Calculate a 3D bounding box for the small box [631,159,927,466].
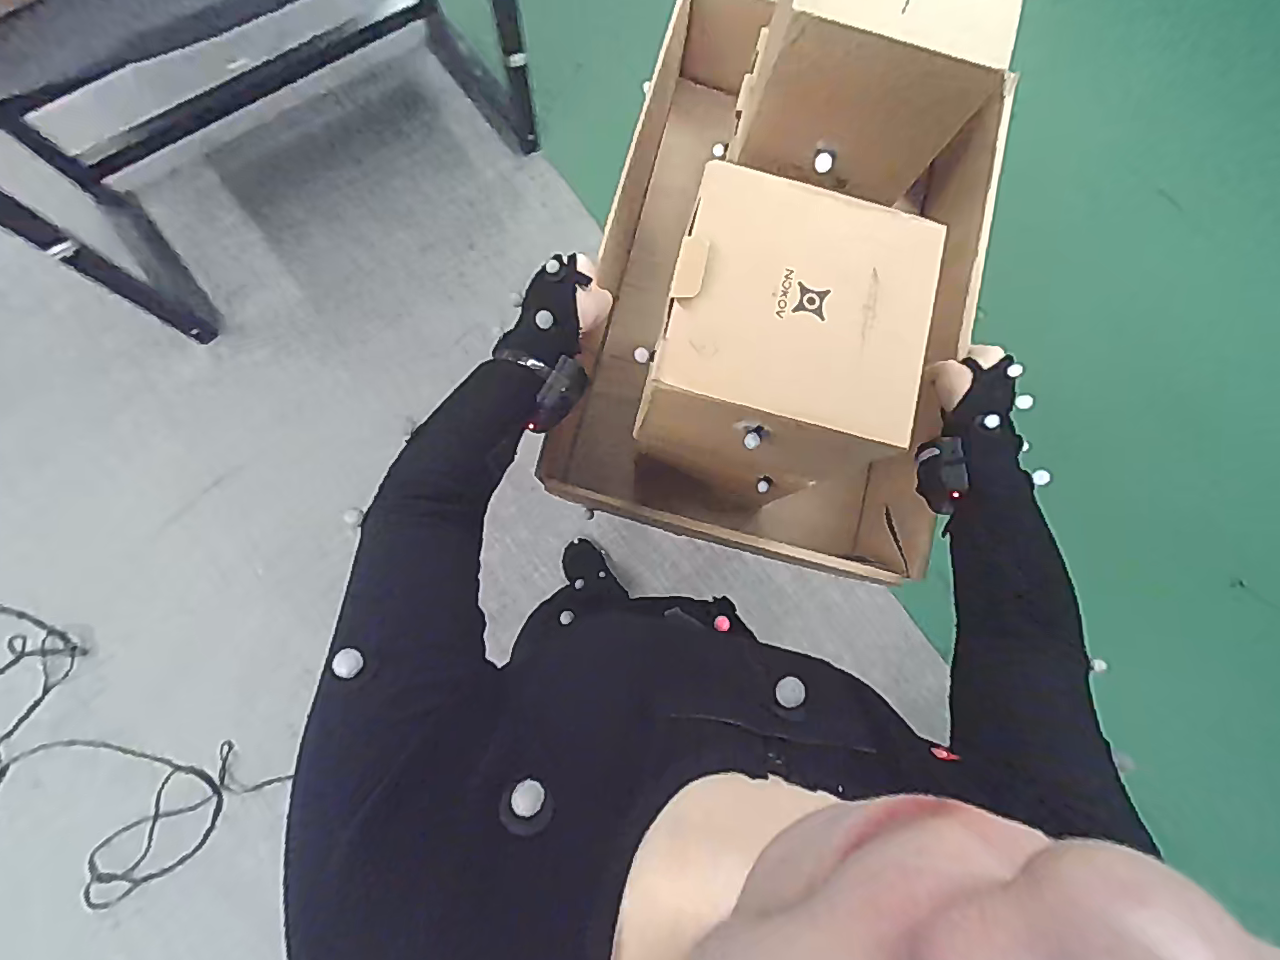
[{"bbox_3d":[0.095,-0.115,0.445,0.179,0.176,0.168,13,82,-4],"label":"small box"}]
